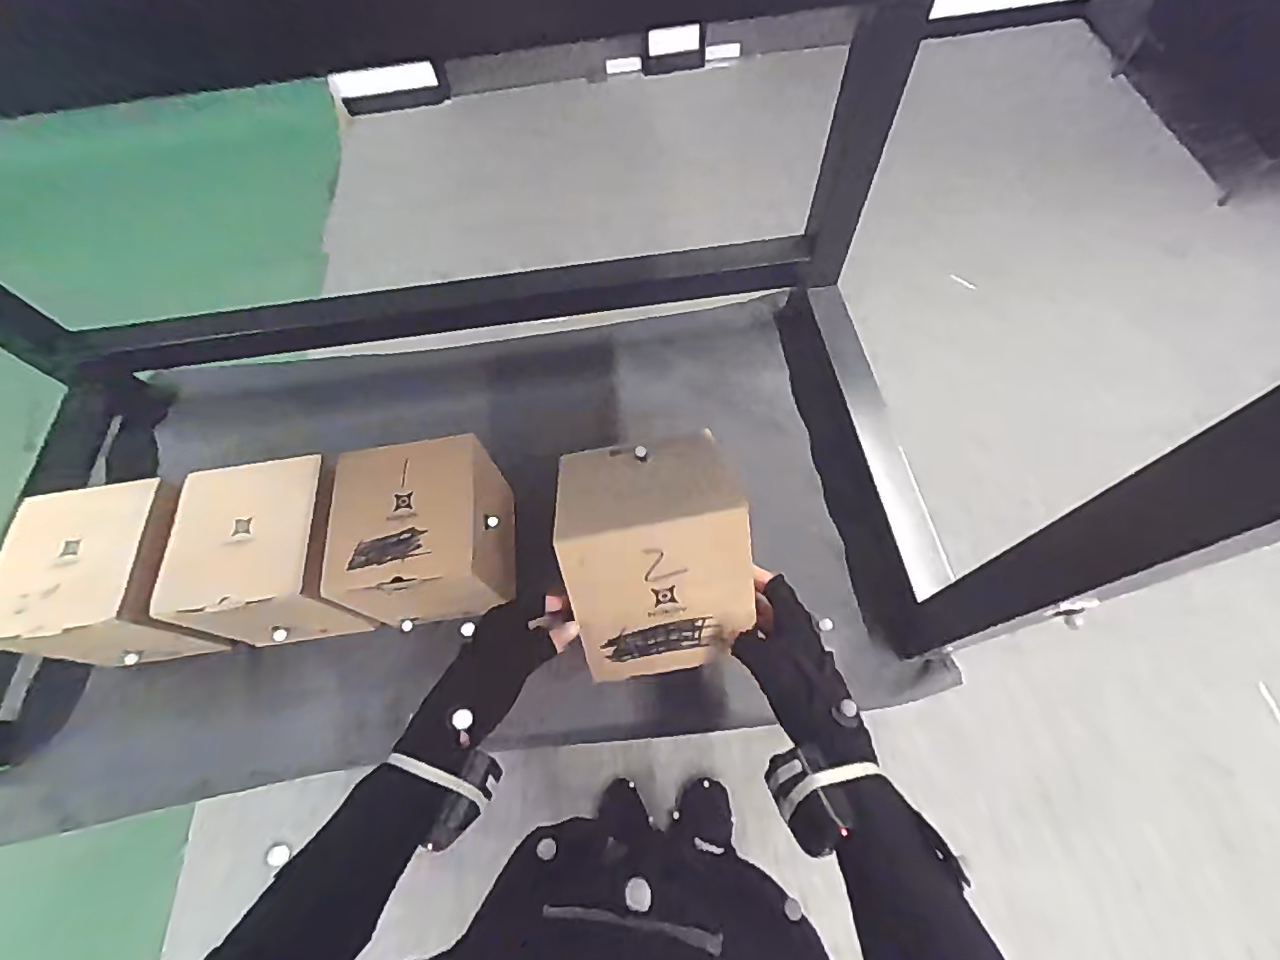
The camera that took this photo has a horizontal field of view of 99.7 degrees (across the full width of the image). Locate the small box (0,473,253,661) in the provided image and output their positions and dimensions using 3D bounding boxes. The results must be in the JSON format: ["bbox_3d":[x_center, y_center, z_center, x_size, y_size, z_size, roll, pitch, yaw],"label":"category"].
[{"bbox_3d":[-0.631,0.115,0.678,0.168,0.176,0.179,-9,63,1],"label":"small box"}]
